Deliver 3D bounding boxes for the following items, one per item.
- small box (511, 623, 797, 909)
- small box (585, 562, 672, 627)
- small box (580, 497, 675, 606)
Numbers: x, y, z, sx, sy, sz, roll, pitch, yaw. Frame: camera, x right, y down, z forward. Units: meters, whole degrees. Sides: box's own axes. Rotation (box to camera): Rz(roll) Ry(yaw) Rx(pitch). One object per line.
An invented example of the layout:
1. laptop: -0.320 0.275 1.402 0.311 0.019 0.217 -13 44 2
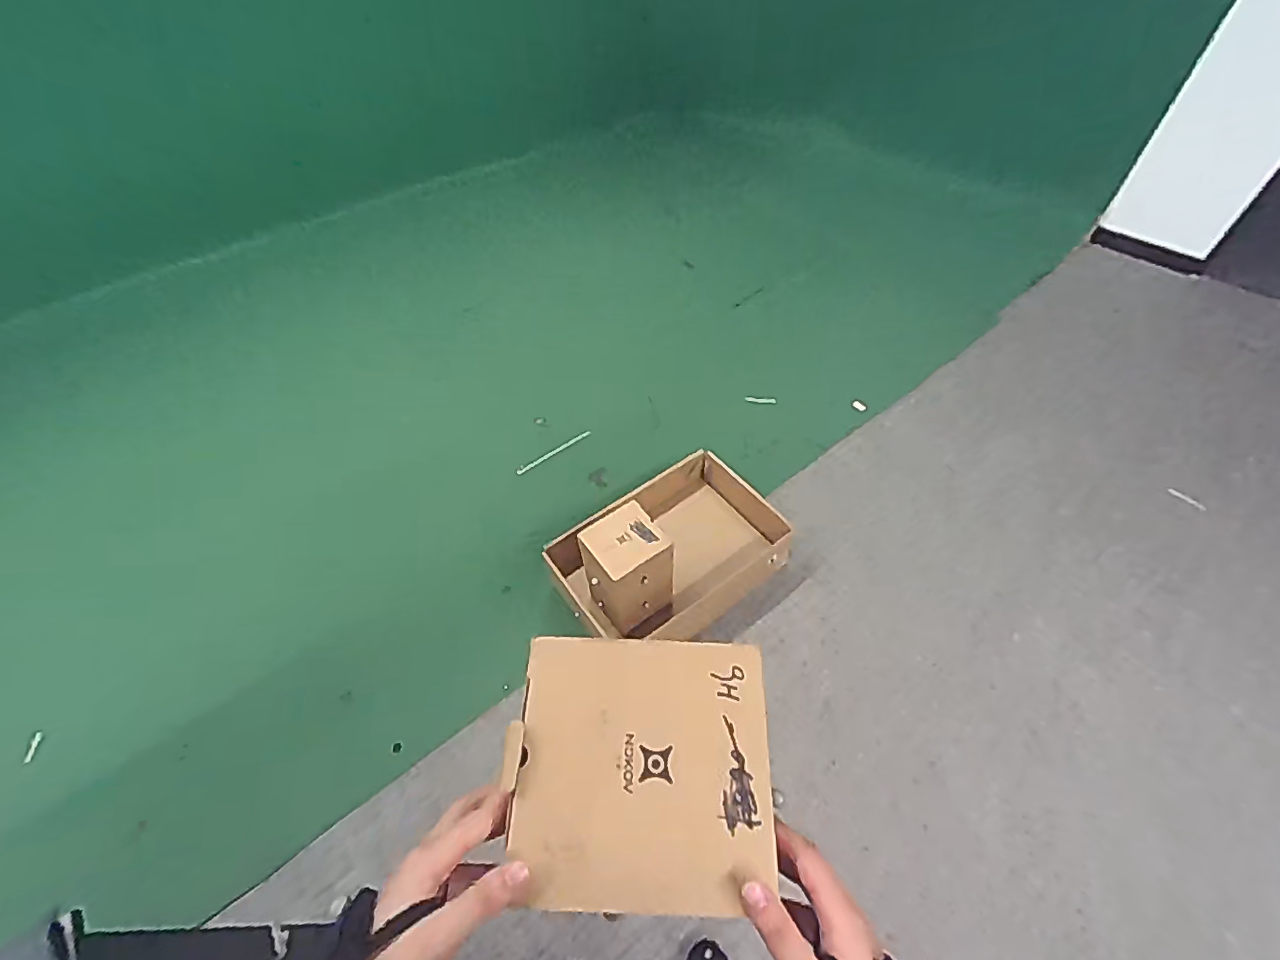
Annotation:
1. small box: 0.011 0.223 0.432 0.179 0.176 0.168 3 59 0
2. small box: -0.028 0.281 1.481 0.179 0.176 0.168 -31 58 -22
3. small box: -0.030 0.180 1.350 0.179 0.176 0.168 -31 56 -20
